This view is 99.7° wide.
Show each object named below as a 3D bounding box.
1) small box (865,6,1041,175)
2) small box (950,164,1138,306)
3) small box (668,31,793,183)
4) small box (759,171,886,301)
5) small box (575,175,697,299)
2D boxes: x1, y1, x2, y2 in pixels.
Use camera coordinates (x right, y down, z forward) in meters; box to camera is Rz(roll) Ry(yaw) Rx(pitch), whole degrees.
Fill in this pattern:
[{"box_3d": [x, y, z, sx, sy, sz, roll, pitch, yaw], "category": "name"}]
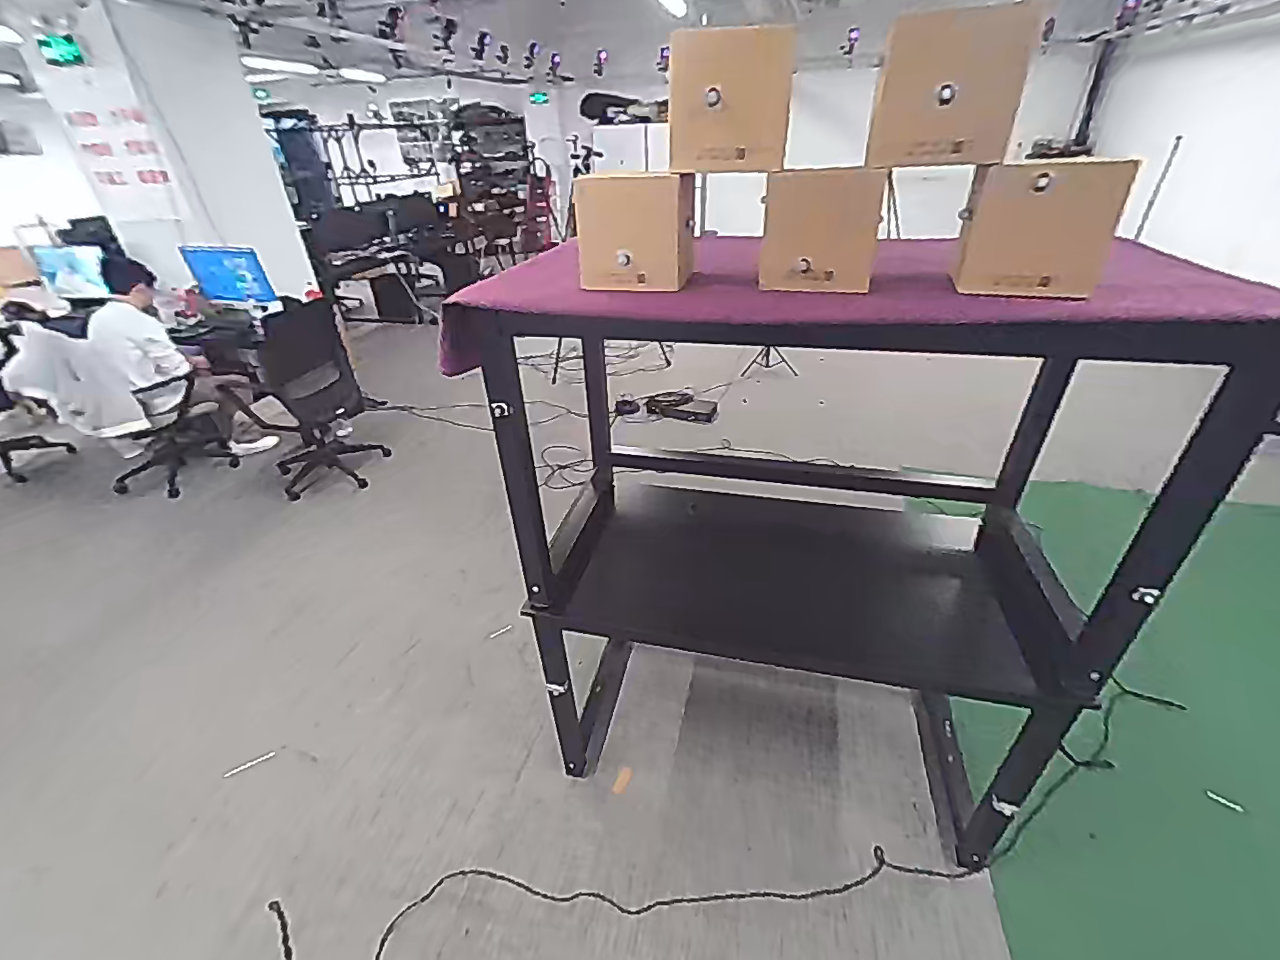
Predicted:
[{"box_3d": [0.415, -0.524, 0.752, 0.168, 0.176, 0.179, 8, 32, 16], "category": "small box"}, {"box_3d": [0.569, -0.363, 0.793, 0.168, 0.176, 0.179, 10, 32, 21], "category": "small box"}, {"box_3d": [0.135, -0.549, 0.817, 0.168, 0.176, 0.179, 4, 31, 8], "category": "small box"}, {"box_3d": [0.286, -0.394, 0.866, 0.168, 0.176, 0.179, 7, 33, 16], "category": "small box"}, {"box_3d": [0.000, -0.415, 0.915, 0.168, 0.176, 0.179, 5, 33, 12], "category": "small box"}]
